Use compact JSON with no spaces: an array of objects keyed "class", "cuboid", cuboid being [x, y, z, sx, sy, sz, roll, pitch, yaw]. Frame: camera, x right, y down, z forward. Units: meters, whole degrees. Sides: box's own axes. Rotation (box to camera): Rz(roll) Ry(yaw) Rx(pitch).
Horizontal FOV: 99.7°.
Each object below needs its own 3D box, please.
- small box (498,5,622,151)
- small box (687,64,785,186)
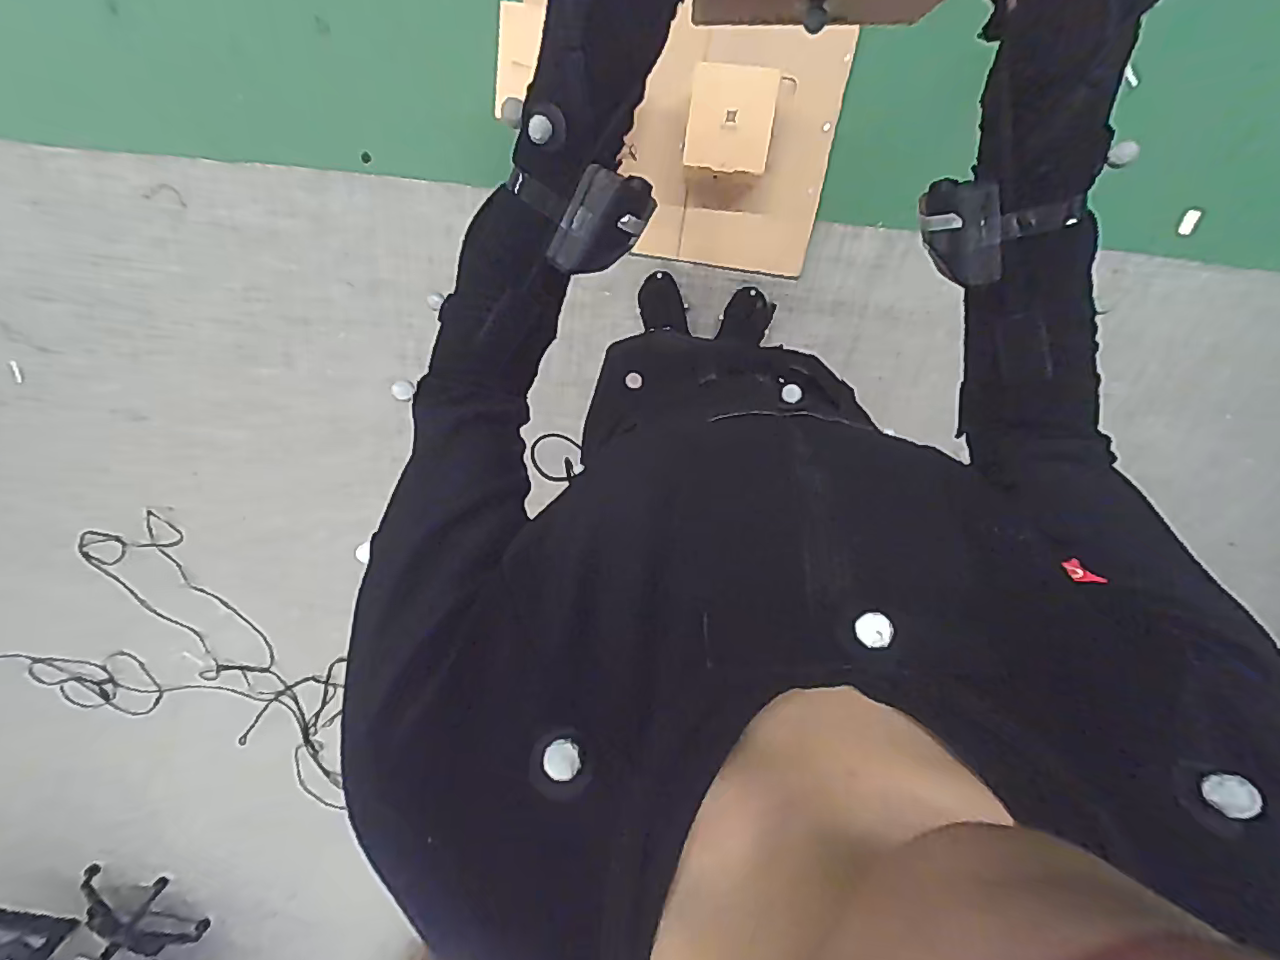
[{"class":"small box","cuboid":[-0.136,-0.707,0.972,0.179,0.176,0.168,13,114,4]},{"class":"small box","cuboid":[0.189,-0.719,1.112,0.168,0.176,0.179,8,114,3]}]
